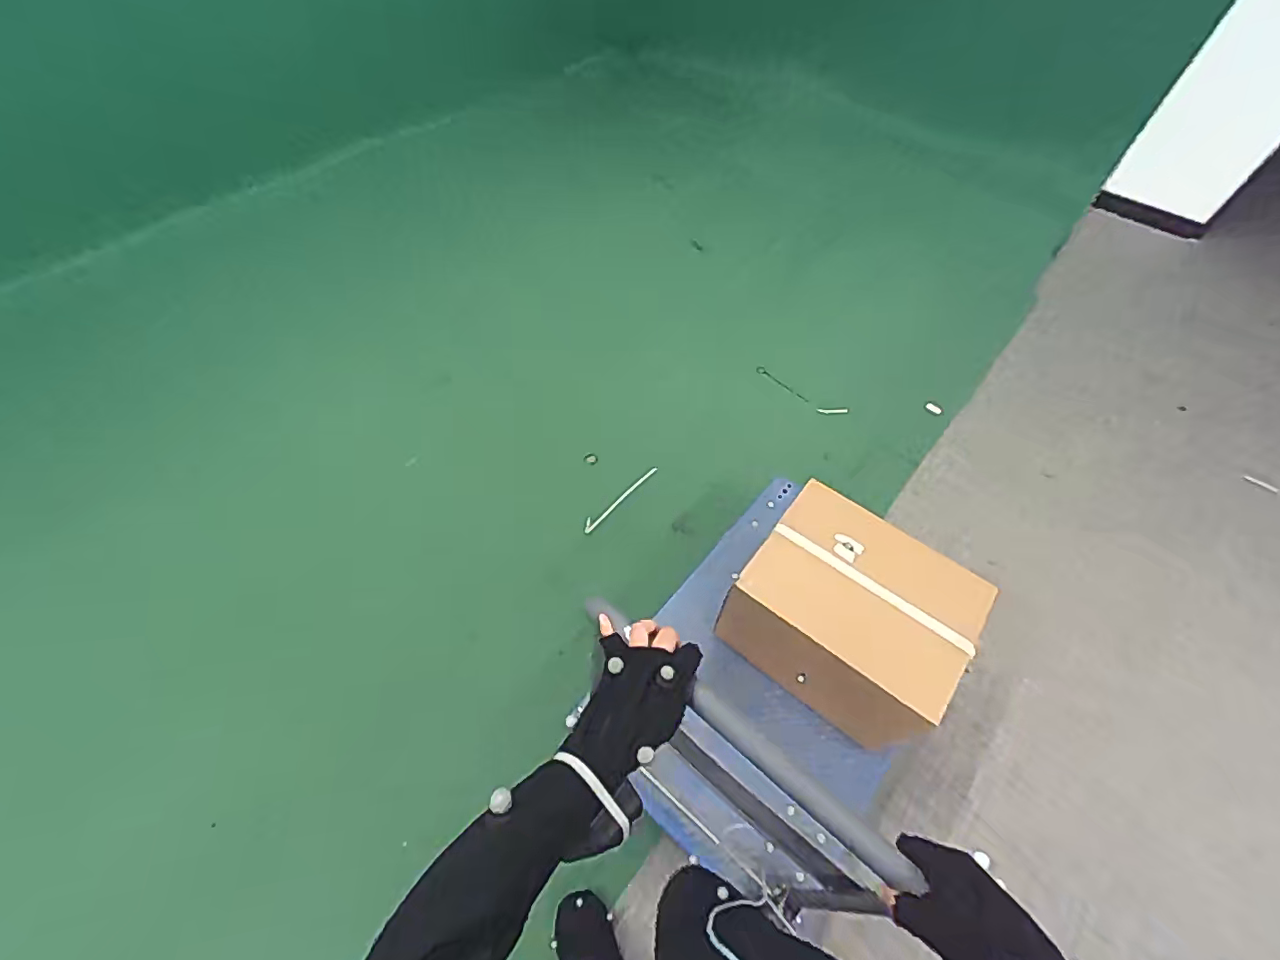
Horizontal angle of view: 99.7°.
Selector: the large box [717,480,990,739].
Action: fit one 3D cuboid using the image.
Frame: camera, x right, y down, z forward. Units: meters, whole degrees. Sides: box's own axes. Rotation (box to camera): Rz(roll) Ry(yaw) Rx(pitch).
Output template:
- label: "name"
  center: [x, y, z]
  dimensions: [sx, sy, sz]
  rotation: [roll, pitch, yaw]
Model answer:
- label: "large box"
  center: [0.427, 0.280, 1.159]
  dimensions: [0.408, 0.320, 0.320]
  rotation: [33, 62, 20]
